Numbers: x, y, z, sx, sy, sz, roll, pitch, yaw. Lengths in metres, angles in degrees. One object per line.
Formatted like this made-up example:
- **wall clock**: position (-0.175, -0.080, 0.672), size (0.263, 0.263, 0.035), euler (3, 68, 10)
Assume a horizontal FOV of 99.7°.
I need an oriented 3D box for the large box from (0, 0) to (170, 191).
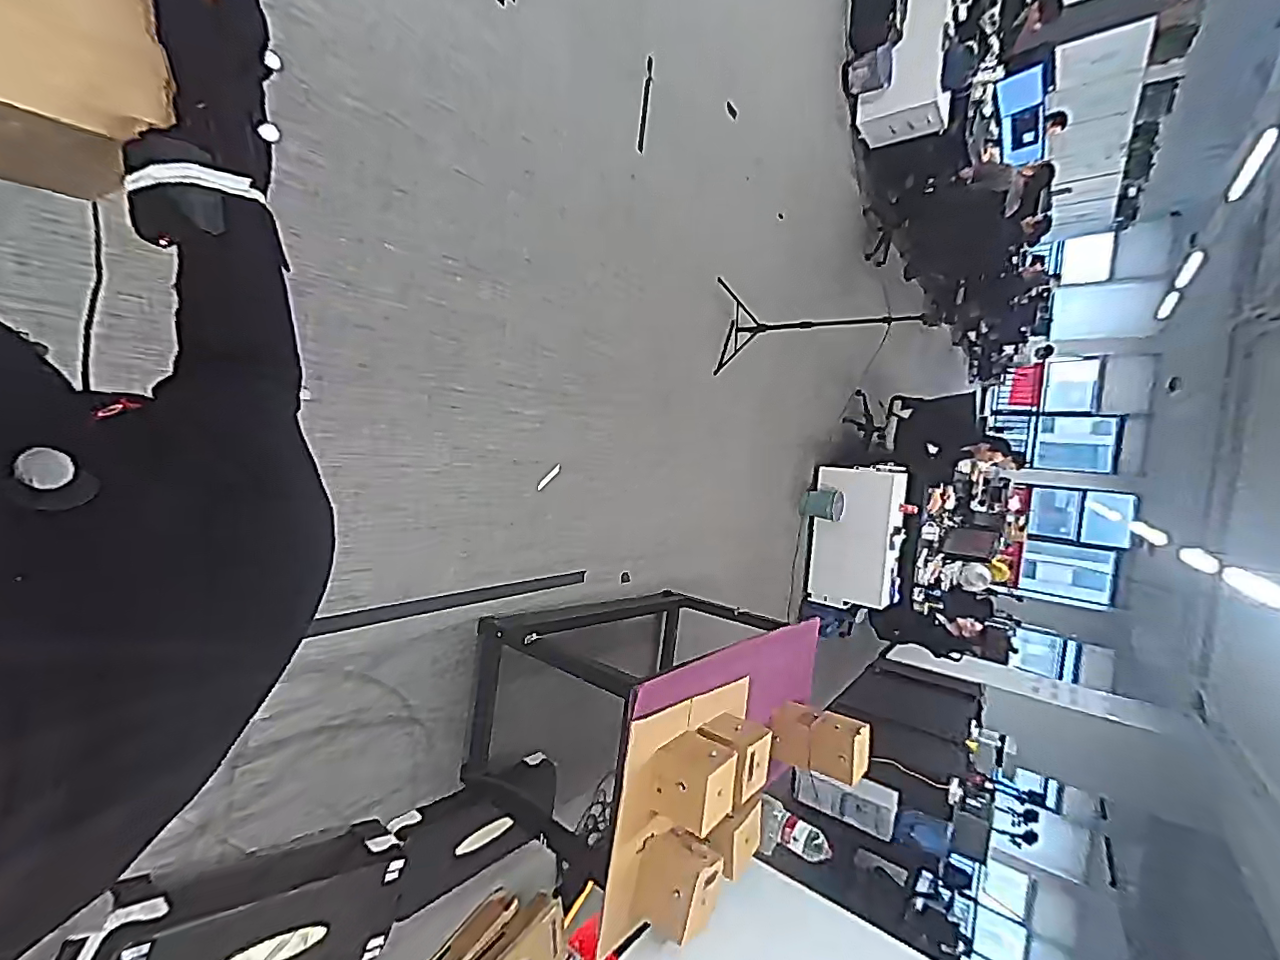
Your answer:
- **large box**: position (-0.582, -0.418, 0.319), size (0.408, 0.320, 0.320), euler (-5, 106, -54)
